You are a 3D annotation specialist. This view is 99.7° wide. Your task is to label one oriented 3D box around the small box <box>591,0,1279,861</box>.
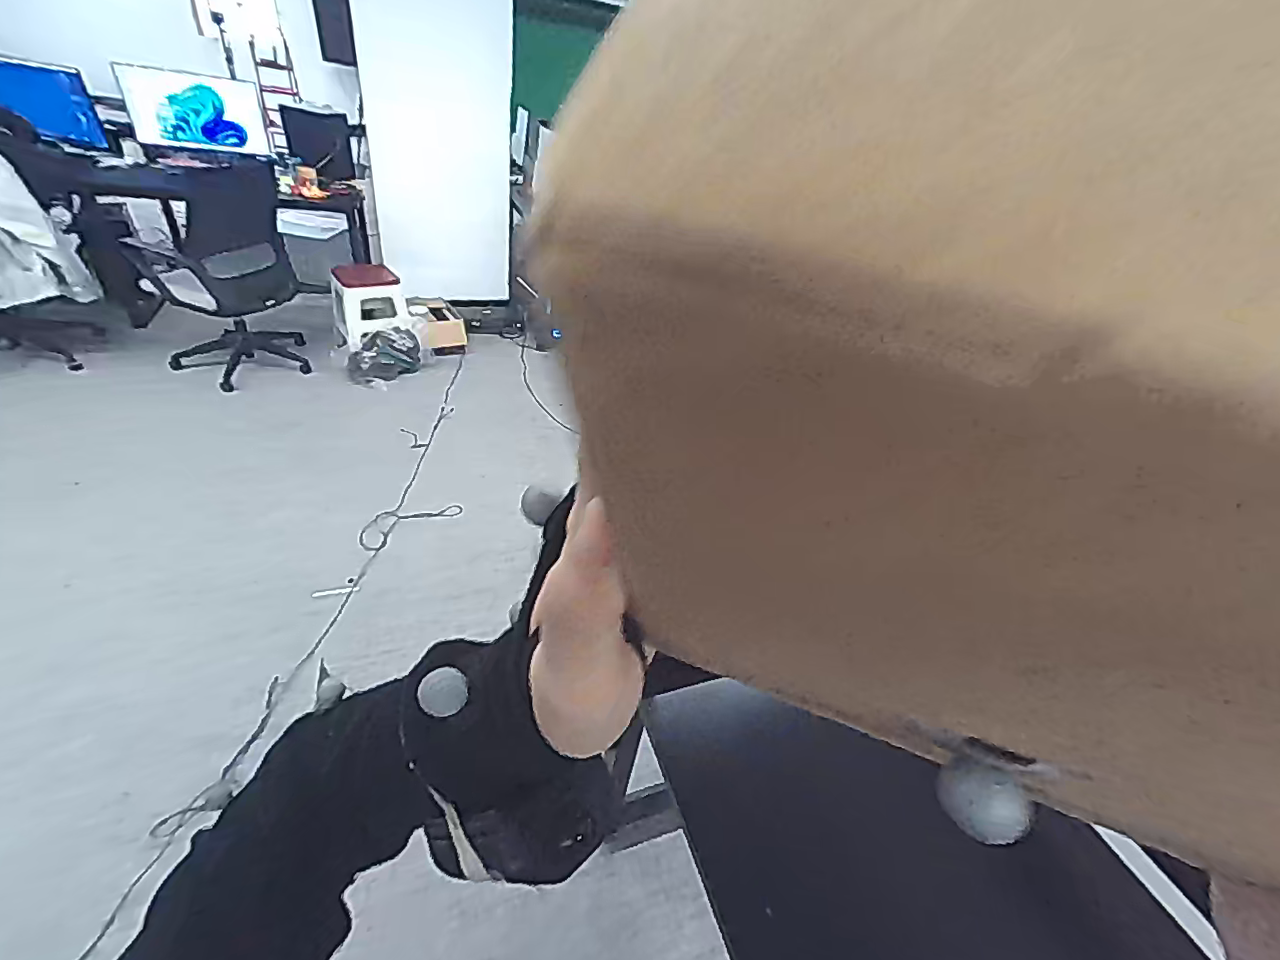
[{"bbox_3d":[0.105,-0.034,0.120,0.168,0.176,0.179,17,67,12],"label":"small box"}]
